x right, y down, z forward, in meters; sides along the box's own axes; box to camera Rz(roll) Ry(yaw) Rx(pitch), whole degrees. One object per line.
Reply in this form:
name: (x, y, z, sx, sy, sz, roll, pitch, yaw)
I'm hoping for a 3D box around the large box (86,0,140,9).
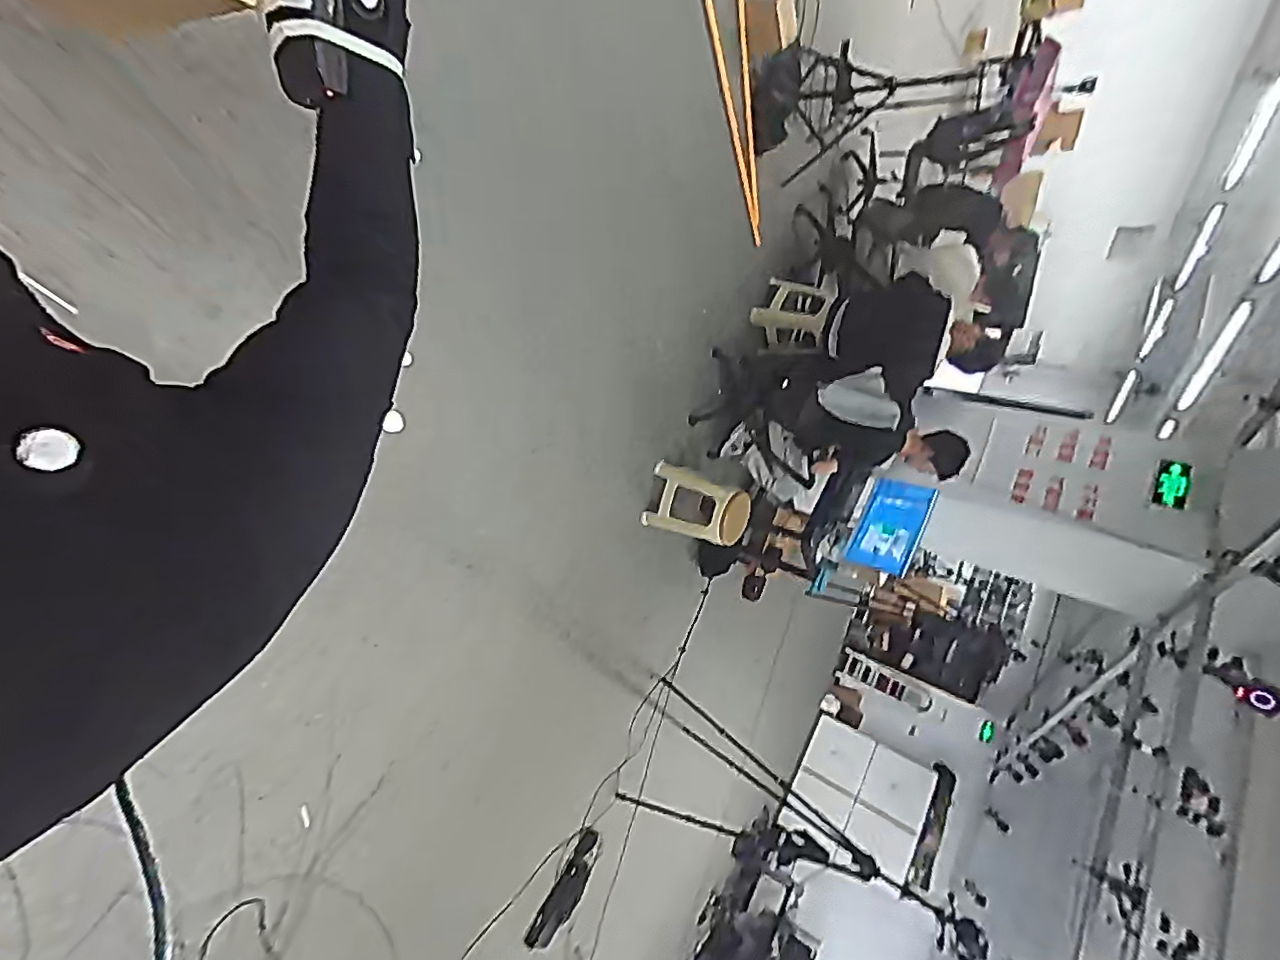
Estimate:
large box: (-0.443, -0.533, 0.245, 0.408, 0.320, 0.320, 0, 111, -59)
